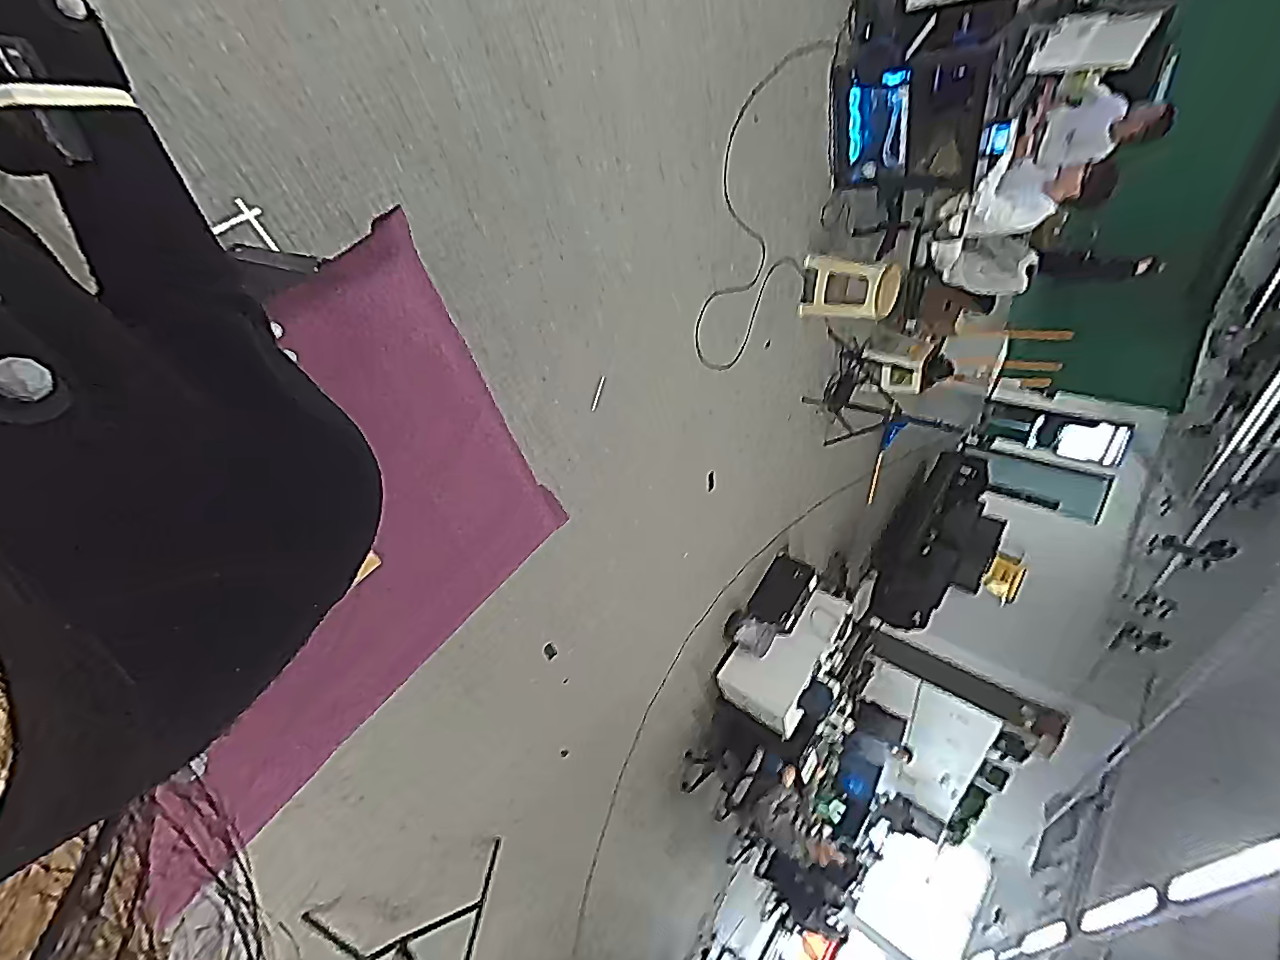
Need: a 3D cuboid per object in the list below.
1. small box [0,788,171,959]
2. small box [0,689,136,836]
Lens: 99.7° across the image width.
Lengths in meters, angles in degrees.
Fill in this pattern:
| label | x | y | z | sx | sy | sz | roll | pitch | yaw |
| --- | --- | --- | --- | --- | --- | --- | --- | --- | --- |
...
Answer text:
| label | x | y | z | sx | sy | sz | roll | pitch | yaw |
| --- | --- | --- | --- | --- | --- | --- | --- | --- | --- |
| small box | -0.546 | 0.392 | 0.437 | 0.168 | 0.176 | 0.179 | -45 | 138 | -29 |
| small box | -0.668 | 0.336 | 0.531 | 0.168 | 0.176 | 0.179 | -44 | 139 | -28 |
